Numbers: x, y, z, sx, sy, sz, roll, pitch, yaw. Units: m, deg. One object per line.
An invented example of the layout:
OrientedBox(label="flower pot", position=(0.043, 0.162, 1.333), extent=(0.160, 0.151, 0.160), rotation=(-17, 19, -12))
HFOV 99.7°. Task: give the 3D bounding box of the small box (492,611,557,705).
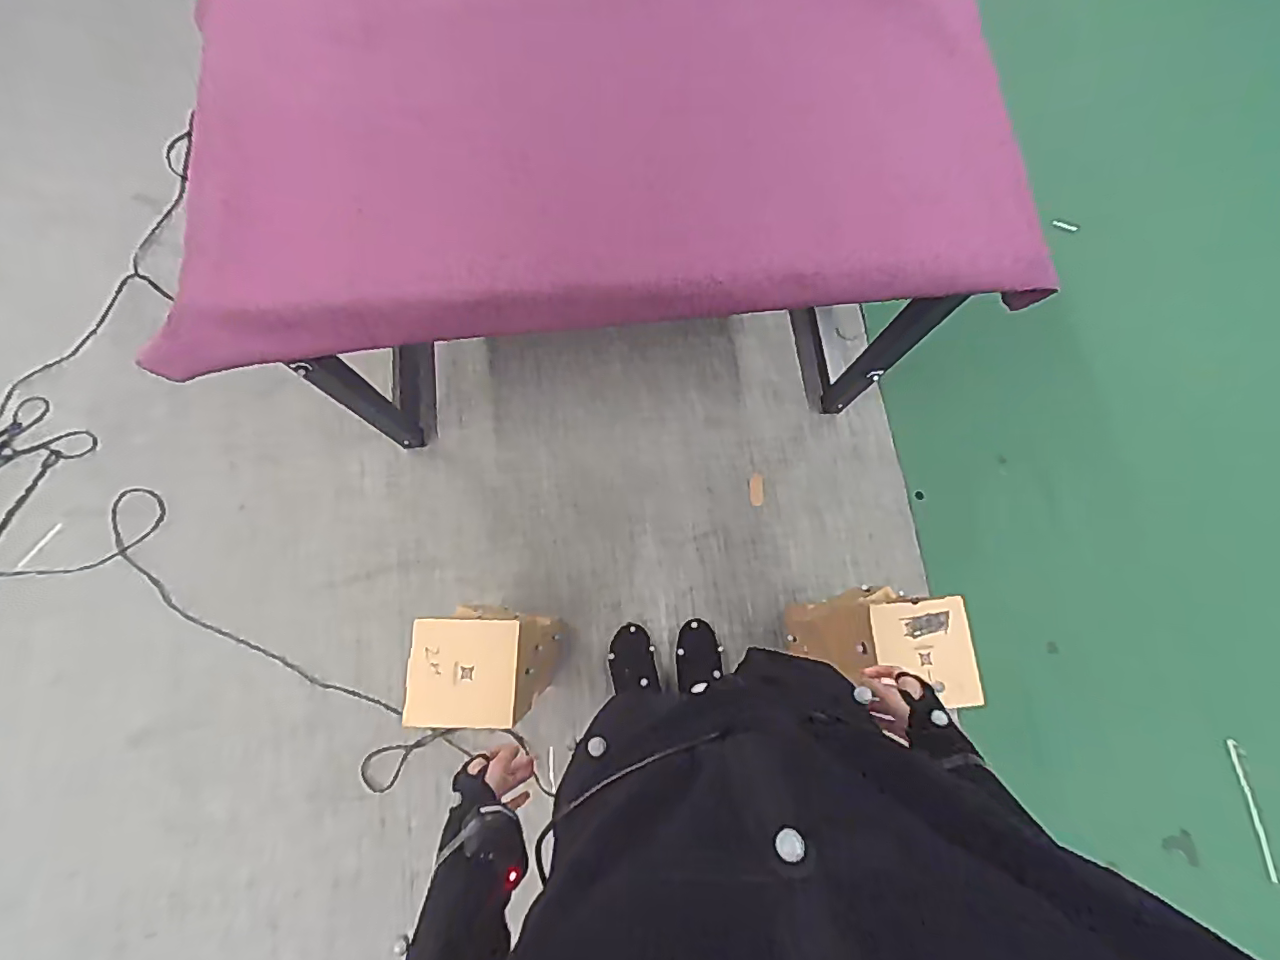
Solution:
OrientedBox(label="small box", position=(-0.294, 0.403, 1.252), extent=(0.168, 0.176, 0.179), rotation=(9, 77, 1))

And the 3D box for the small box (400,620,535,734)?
OrientedBox(label="small box", position=(-0.284, 0.331, 0.933), extent=(0.179, 0.176, 0.168), rotation=(2, 75, 0))

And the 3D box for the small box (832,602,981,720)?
OrientedBox(label="small box", position=(0.458, 0.312, 0.959), extent=(0.168, 0.176, 0.179), rotation=(-4, 78, -3))

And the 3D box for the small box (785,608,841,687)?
OrientedBox(label="small box", position=(0.448, 0.394, 1.277), extent=(0.179, 0.176, 0.168), rotation=(4, 77, -1))

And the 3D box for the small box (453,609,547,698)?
OrientedBox(label="small box", position=(-0.297, 0.369, 1.094), extent=(0.168, 0.176, 0.179), rotation=(15, 76, 3))
